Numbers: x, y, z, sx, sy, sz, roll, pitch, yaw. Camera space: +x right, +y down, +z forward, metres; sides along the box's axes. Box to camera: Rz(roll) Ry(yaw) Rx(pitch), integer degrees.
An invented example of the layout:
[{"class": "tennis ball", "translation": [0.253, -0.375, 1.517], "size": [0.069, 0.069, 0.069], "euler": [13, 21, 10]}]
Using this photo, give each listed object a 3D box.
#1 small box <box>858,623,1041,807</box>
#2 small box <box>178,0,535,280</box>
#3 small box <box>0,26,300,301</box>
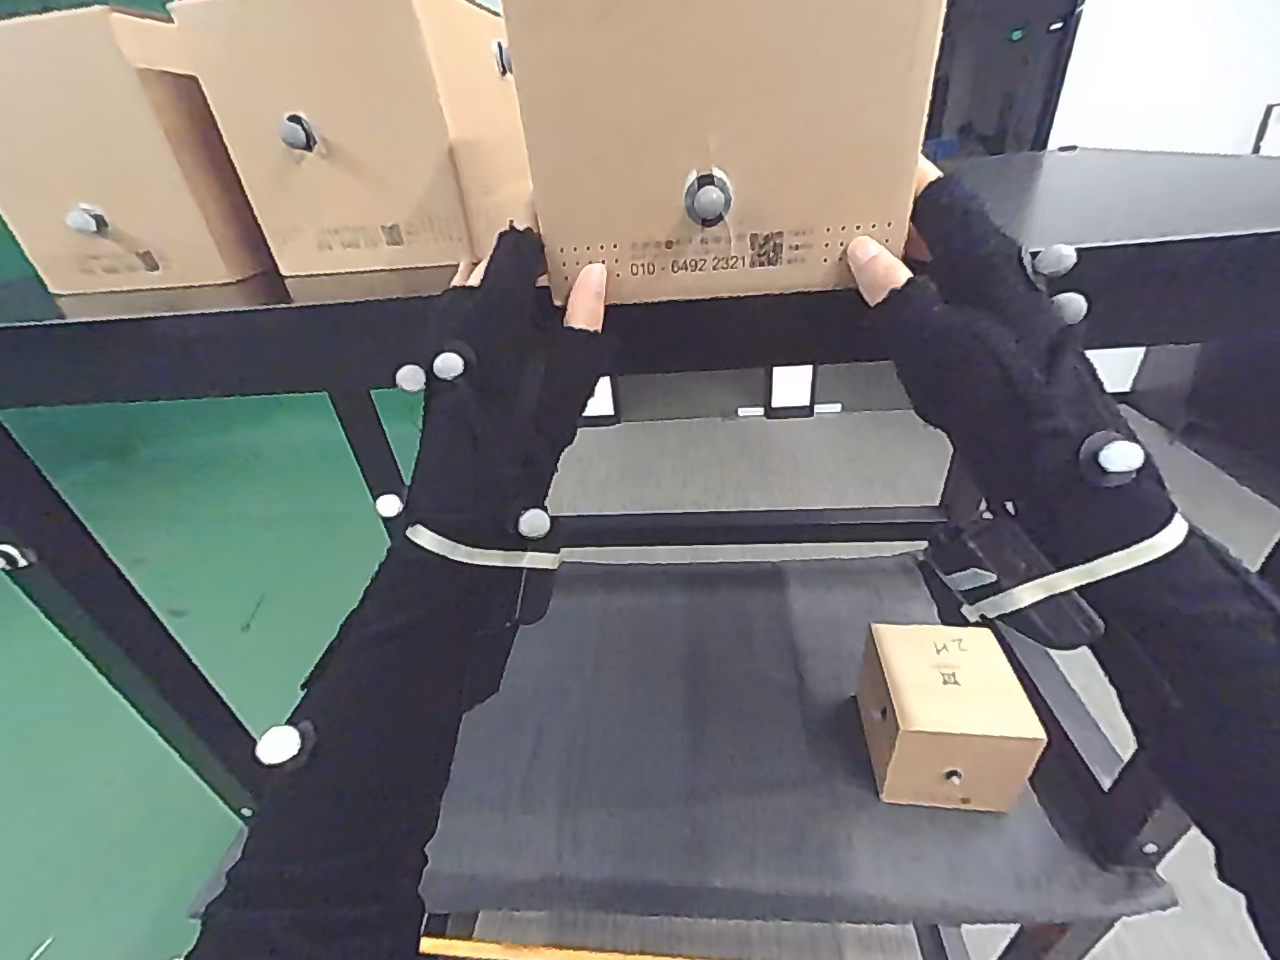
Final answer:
[{"class": "small box", "translation": [0.415, 0.328, 0.762], "size": [0.168, 0.176, 0.179], "euler": [0, 32, 9]}, {"class": "small box", "translation": [-0.197, -0.266, 0.443], "size": [0.168, 0.176, 0.179], "euler": [-1, 32, 9]}, {"class": "small box", "translation": [-0.393, -0.259, 0.461], "size": [0.168, 0.176, 0.179], "euler": [-1, 33, 8]}]
